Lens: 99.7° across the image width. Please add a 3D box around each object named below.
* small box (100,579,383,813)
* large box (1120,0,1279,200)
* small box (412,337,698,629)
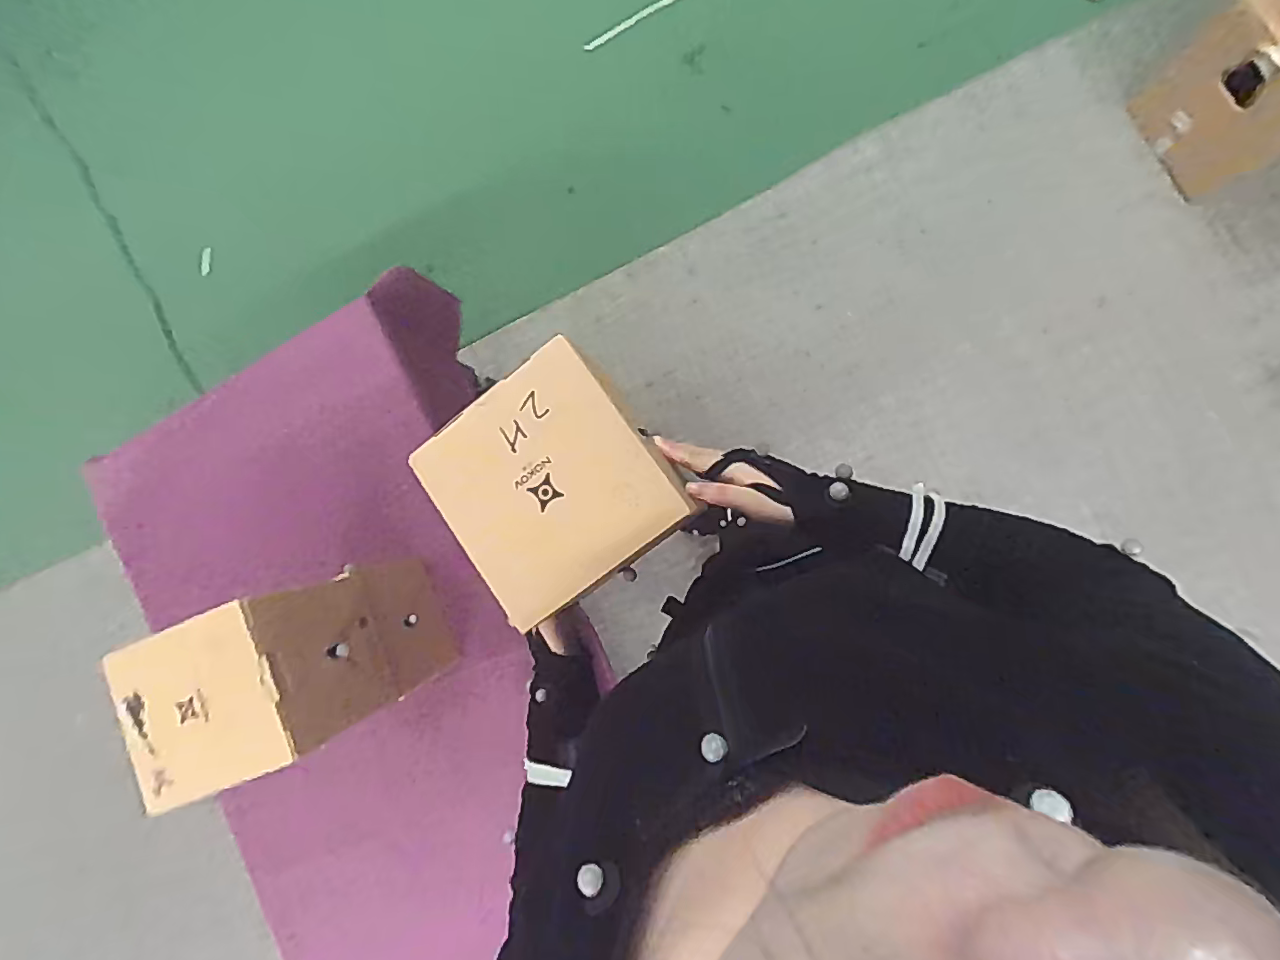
[{"bbox_3d":[-0.419,0.221,0.602,0.179,0.176,0.168,-22,85,7],"label":"small box"},{"bbox_3d":[1.444,-0.926,1.204,0.408,0.320,0.320,-27,84,5],"label":"large box"},{"bbox_3d":[-0.060,0.004,0.498,0.168,0.176,0.179,-35,82,7],"label":"small box"}]
